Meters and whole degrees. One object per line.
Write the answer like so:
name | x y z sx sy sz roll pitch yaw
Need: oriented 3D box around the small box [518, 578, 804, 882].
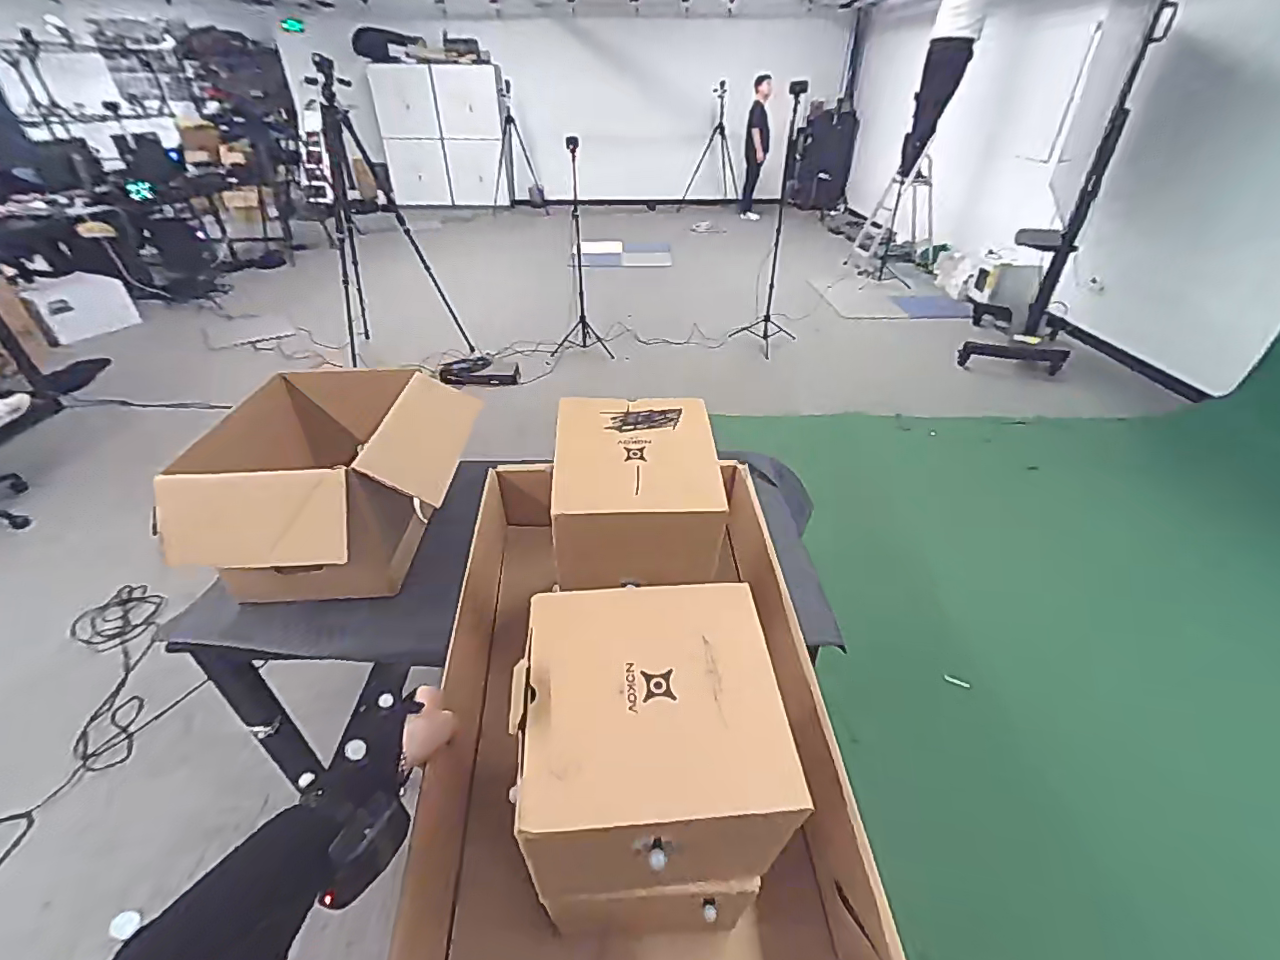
small box | 0.006 0.198 0.431 0.179 0.176 0.168 -2 43 -6

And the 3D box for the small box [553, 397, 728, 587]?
small box | -0.006 0.025 0.612 0.168 0.176 0.179 -1 46 -4
